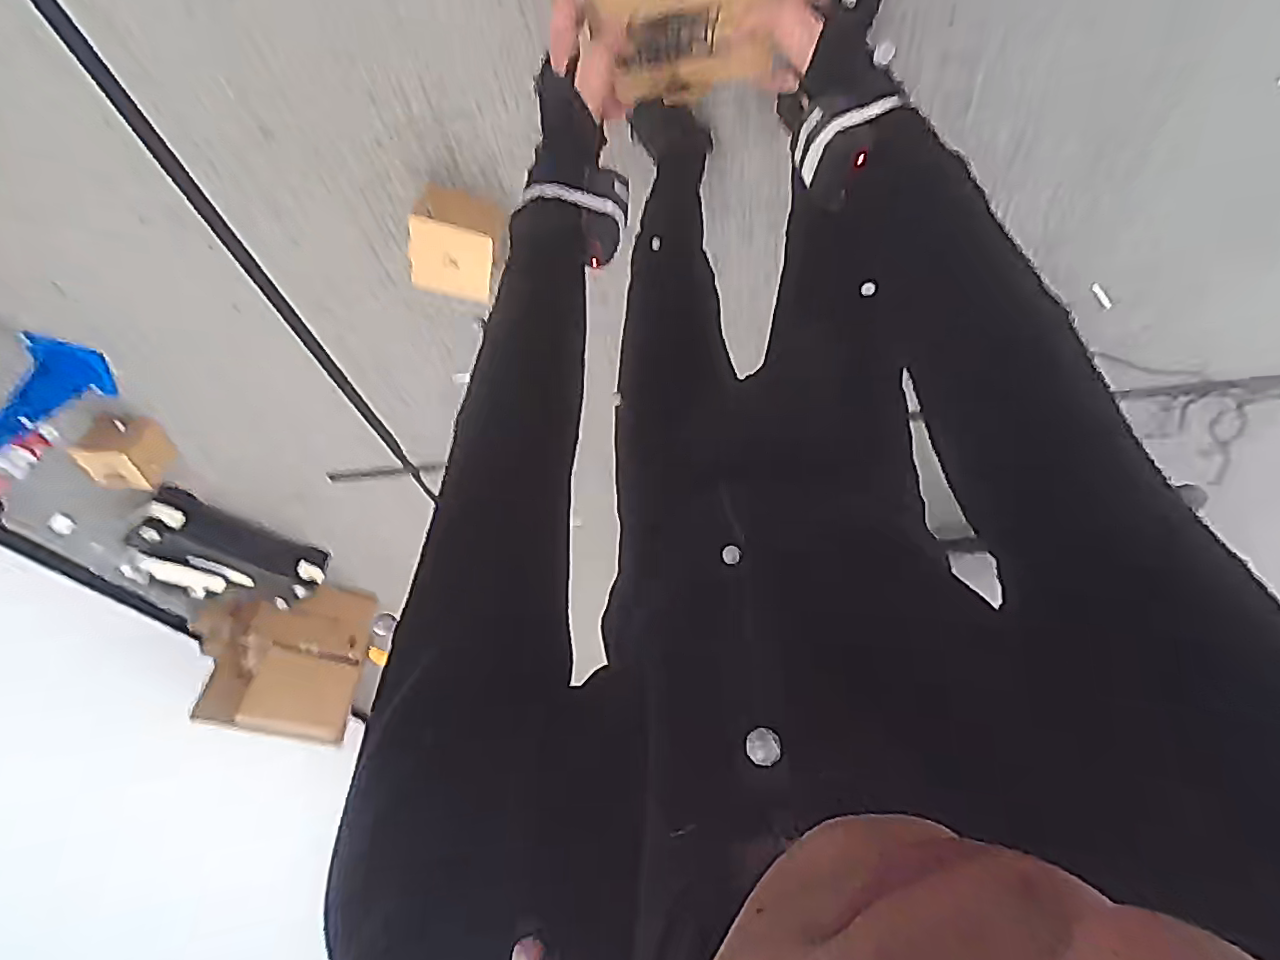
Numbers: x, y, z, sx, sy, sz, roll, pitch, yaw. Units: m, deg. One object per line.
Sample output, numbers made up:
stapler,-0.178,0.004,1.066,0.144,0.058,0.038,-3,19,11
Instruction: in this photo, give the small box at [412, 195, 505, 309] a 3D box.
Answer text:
small box,-0.417,-0.531,1.256,0.179,0.176,0.168,11,139,-12
